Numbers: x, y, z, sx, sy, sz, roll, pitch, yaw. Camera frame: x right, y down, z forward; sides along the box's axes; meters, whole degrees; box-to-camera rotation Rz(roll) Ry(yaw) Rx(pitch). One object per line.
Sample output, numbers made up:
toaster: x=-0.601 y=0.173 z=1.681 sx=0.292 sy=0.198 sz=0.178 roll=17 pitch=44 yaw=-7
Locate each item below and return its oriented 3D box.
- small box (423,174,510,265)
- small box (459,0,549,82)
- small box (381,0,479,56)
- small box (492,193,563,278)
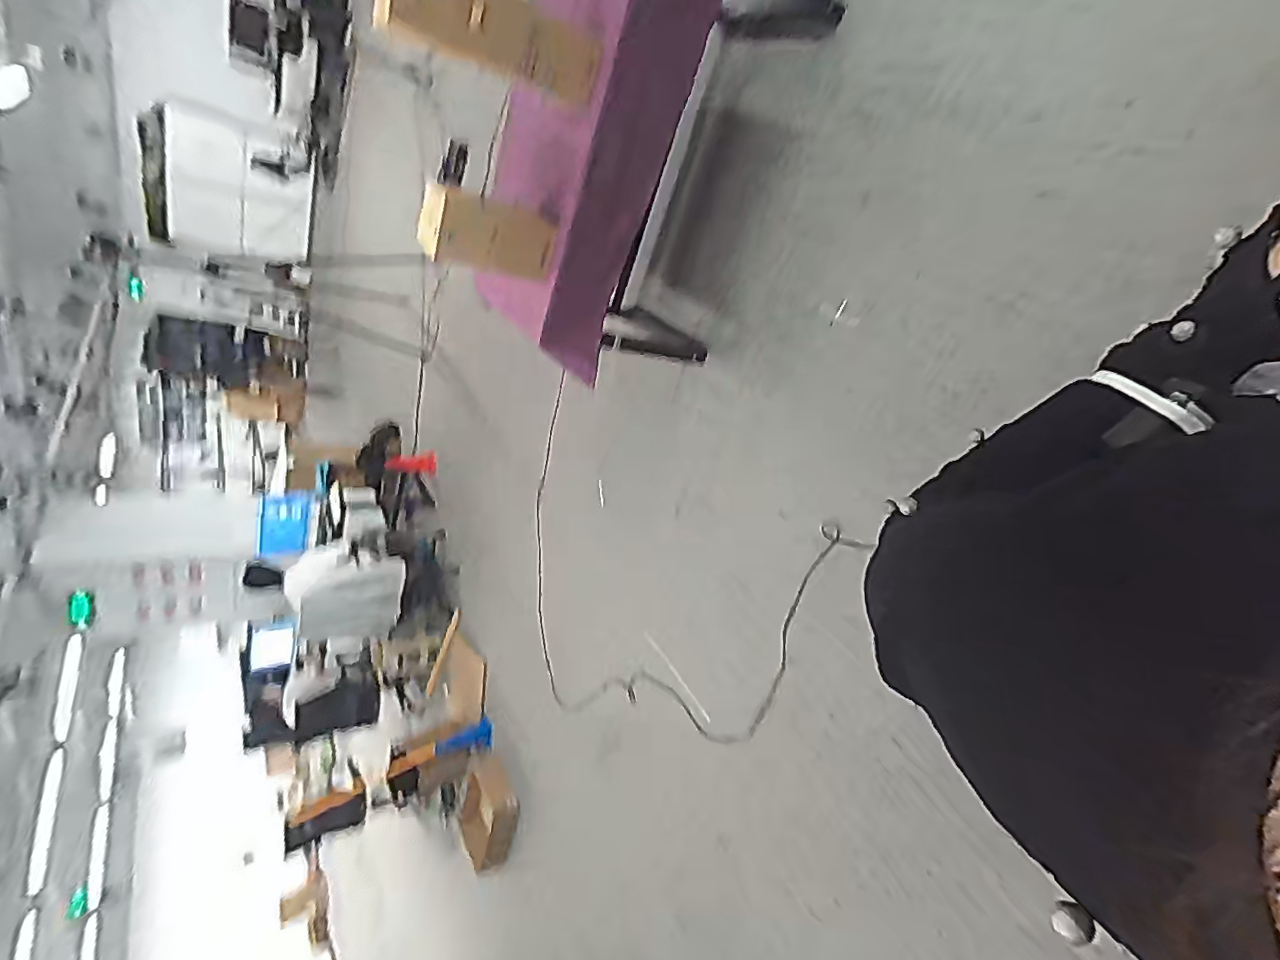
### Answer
small box: x=-0.484 y=-0.719 z=1.504 sx=0.179 sy=0.176 sz=0.168 roll=51 pitch=129 yaw=39
small box: x=-0.343 y=-1.108 z=1.327 sx=0.179 sy=0.176 sz=0.168 roll=45 pitch=124 yaw=42
small box: x=-0.472 y=-1.106 z=1.228 sx=0.168 sy=0.176 sz=0.179 roll=43 pitch=124 yaw=42
small box: x=-0.356 y=-0.721 z=1.608 sx=0.179 sy=0.176 sz=0.168 roll=50 pitch=127 yaw=37
